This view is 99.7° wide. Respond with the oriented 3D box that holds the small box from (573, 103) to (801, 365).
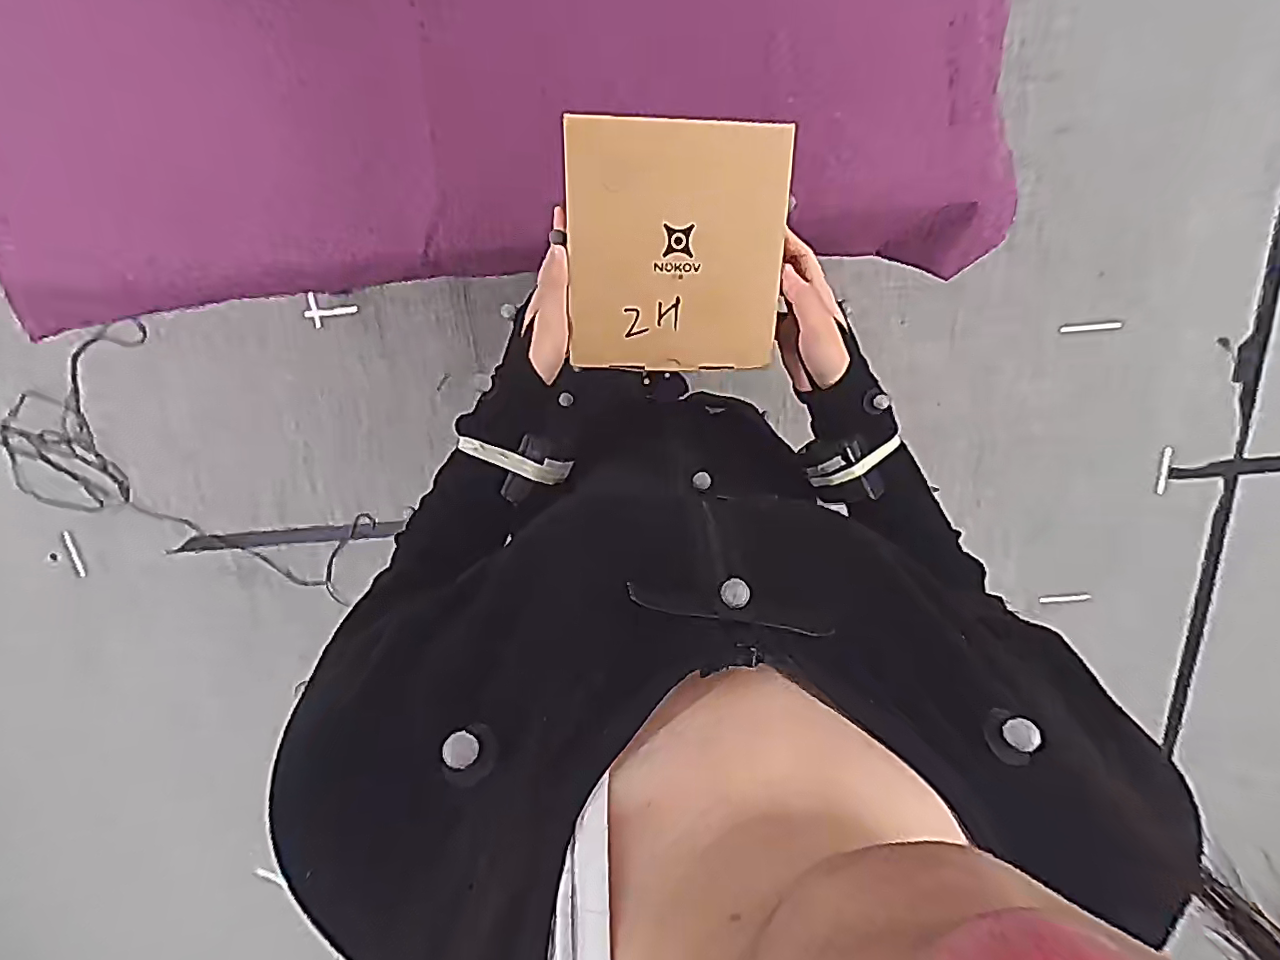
[{"bbox_3d":[0.026,-0.202,0.479,0.168,0.176,0.179,1,110,-4],"label":"small box"}]
